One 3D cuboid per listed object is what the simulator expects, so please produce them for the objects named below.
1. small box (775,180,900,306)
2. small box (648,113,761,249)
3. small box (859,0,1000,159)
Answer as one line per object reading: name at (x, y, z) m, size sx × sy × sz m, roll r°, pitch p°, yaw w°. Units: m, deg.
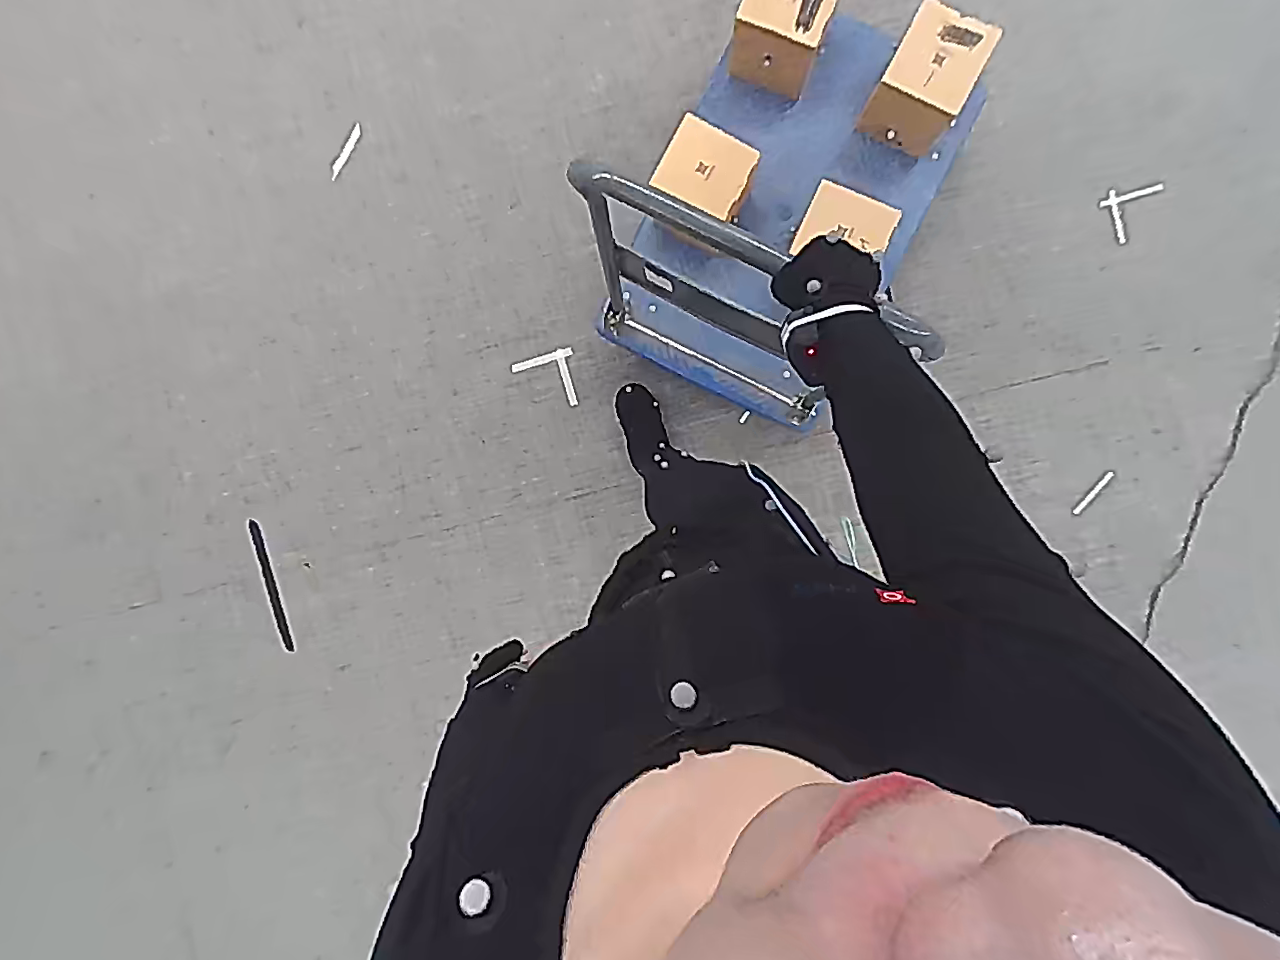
small box at (0.410, -0.495, 1.160) m, size 0.179 × 0.176 × 0.168 m, roll 25°, pitch 95°, yaw 2°
small box at (0.133, -0.633, 1.172) m, size 0.179 × 0.176 × 0.168 m, roll 30°, pitch 94°, yaw 0°
small box at (0.590, -0.825, 1.130) m, size 0.168 × 0.176 × 0.179 m, roll 28°, pitch 96°, yaw 2°
